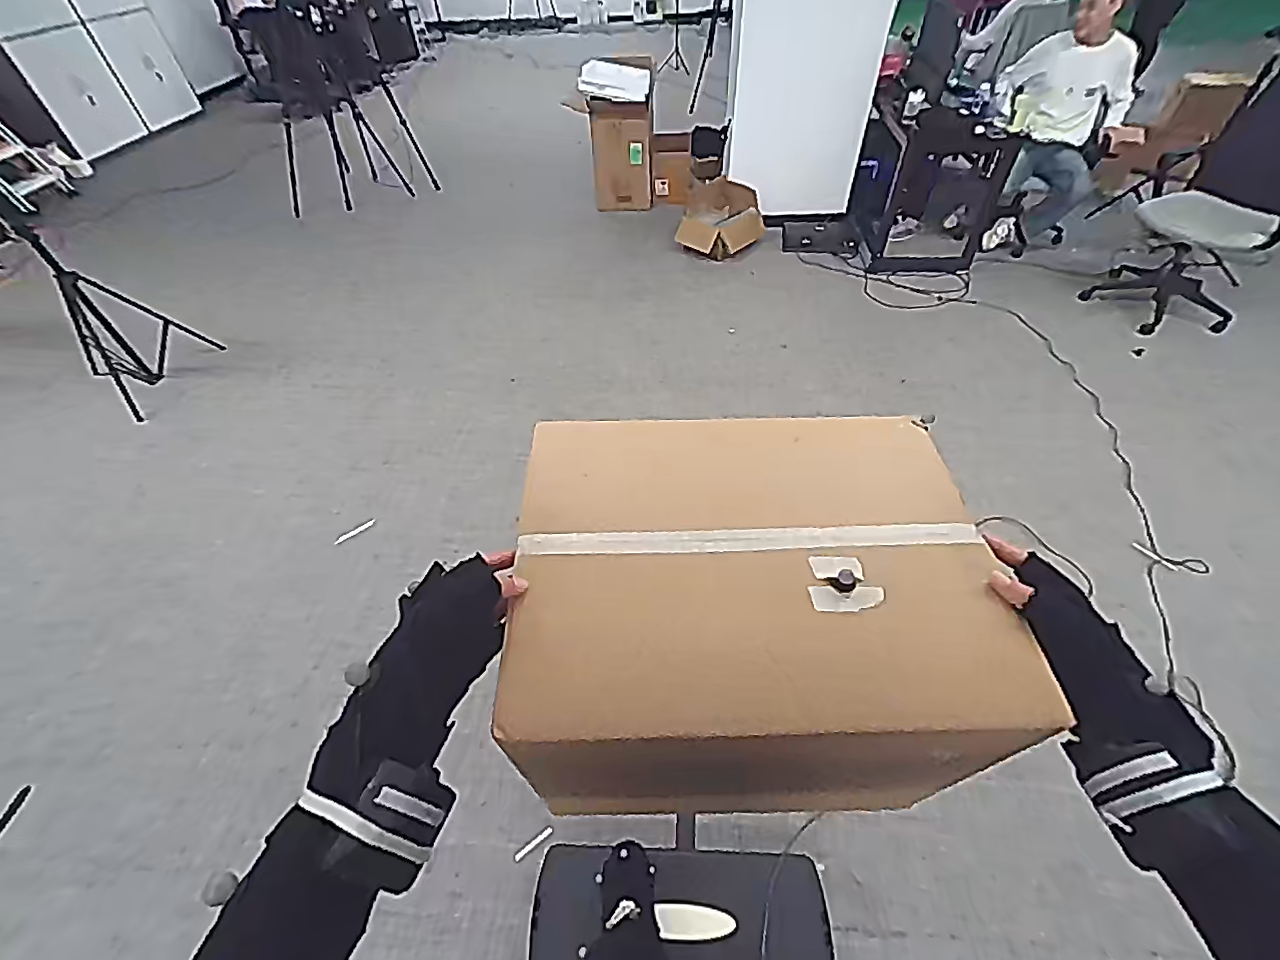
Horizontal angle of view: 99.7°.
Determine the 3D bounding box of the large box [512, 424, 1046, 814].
[{"bbox_3d":[0.096,0.158,0.600,0.408,0.320,0.320,-1,50,-1],"label":"large box"}]
